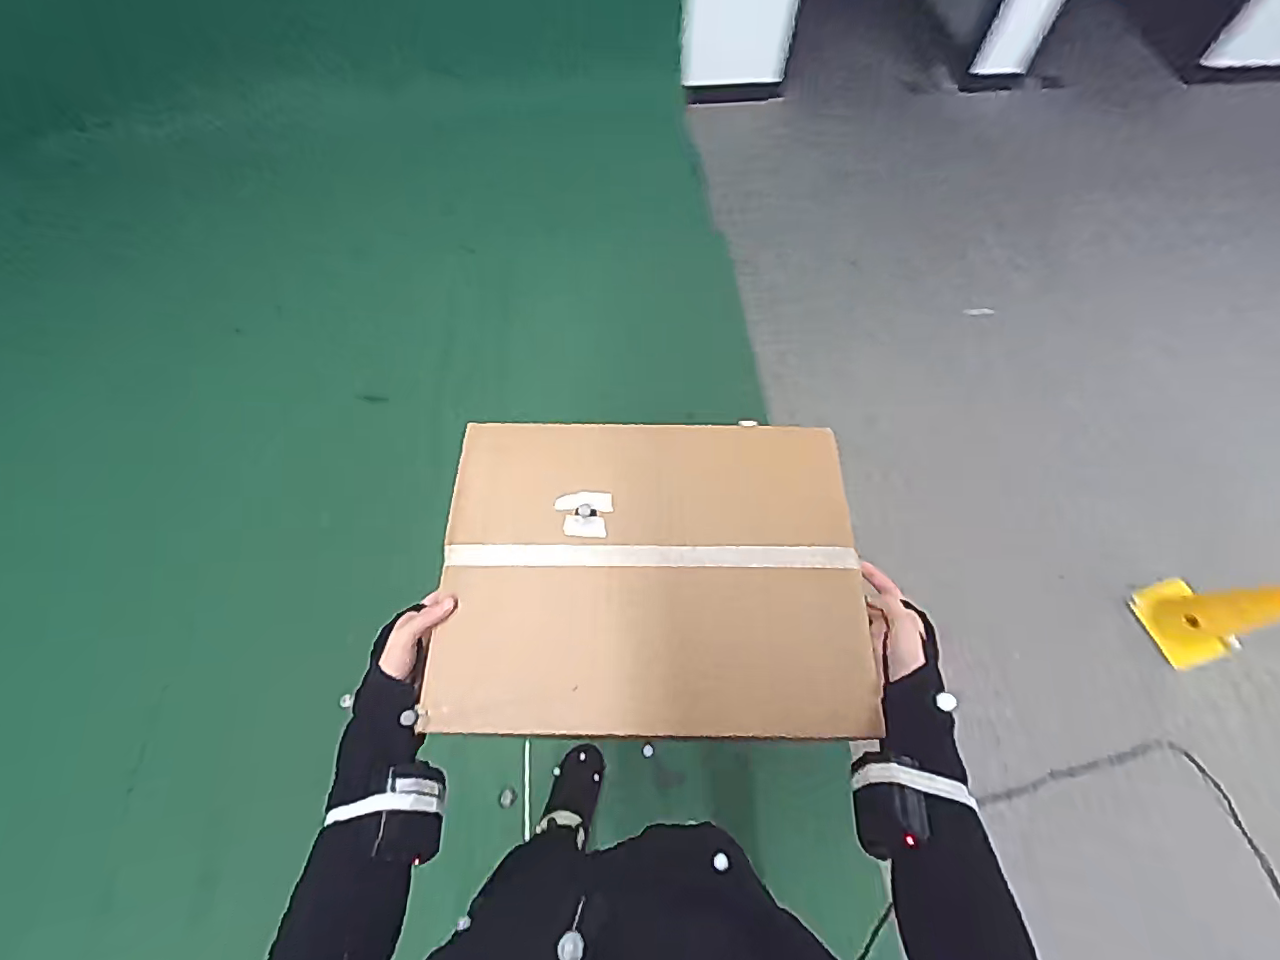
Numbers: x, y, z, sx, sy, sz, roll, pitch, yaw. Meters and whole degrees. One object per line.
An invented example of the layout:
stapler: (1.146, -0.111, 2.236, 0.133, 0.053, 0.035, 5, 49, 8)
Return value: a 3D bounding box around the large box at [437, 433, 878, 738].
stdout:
large box: (0.021, 0.151, 0.680, 0.408, 0.320, 0.320, 0, 63, 2)
